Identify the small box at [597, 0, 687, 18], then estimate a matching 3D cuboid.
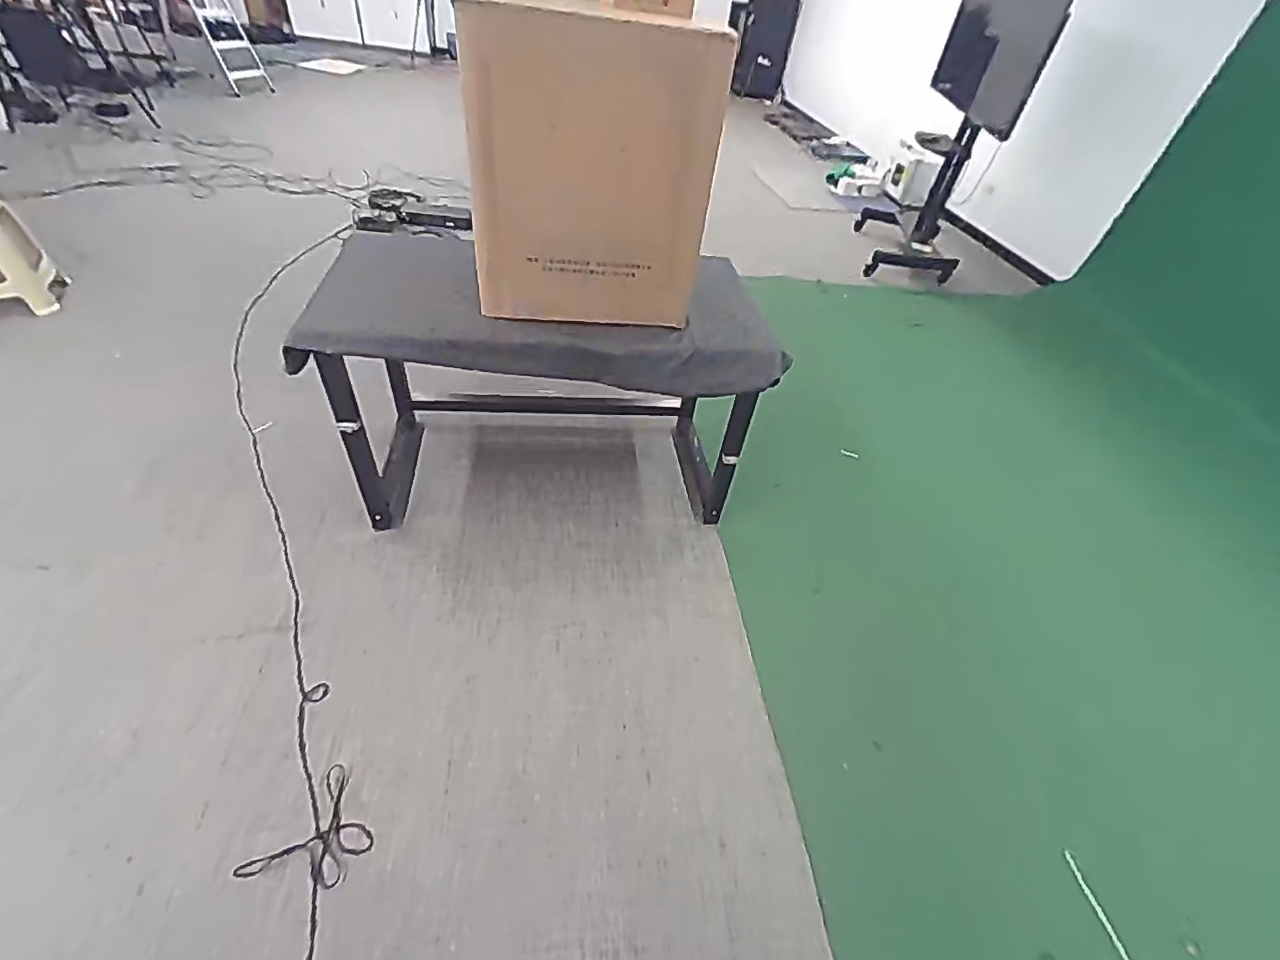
[{"bbox_3d":[0.007,-1.041,1.073,0.168,0.176,0.179,-5,46,-13],"label":"small box"}]
